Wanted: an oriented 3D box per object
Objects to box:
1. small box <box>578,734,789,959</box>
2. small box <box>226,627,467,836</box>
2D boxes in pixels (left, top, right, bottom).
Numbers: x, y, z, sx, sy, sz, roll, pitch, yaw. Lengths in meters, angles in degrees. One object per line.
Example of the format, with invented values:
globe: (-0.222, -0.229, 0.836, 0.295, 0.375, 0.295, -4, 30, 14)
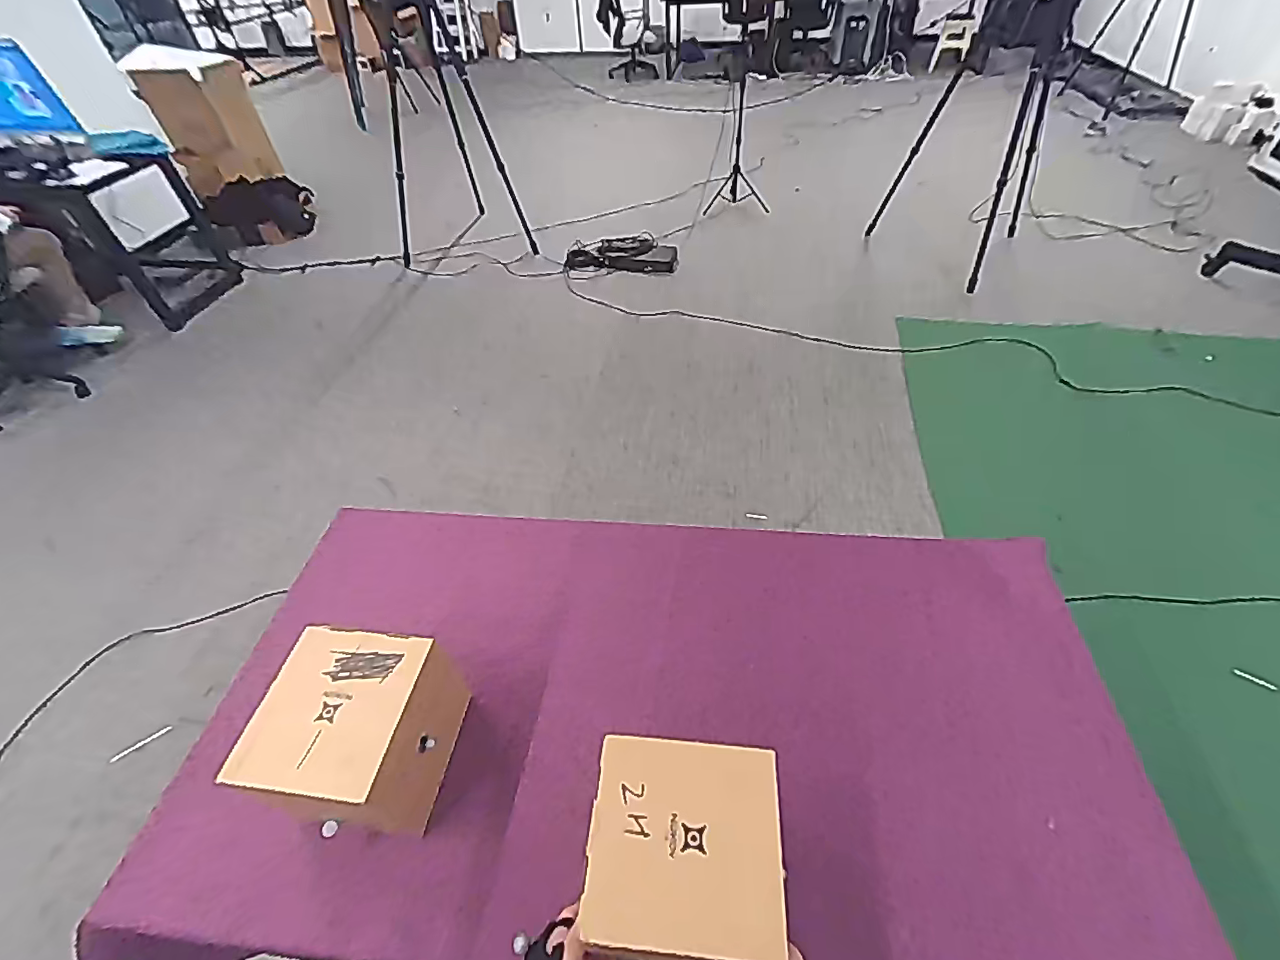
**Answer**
small box: (0.046, 0.382, 0.553, 0.179, 0.176, 0.168, 2, 46, 7)
small box: (-0.328, 0.303, 0.654, 0.168, 0.176, 0.179, 4, 48, 7)
